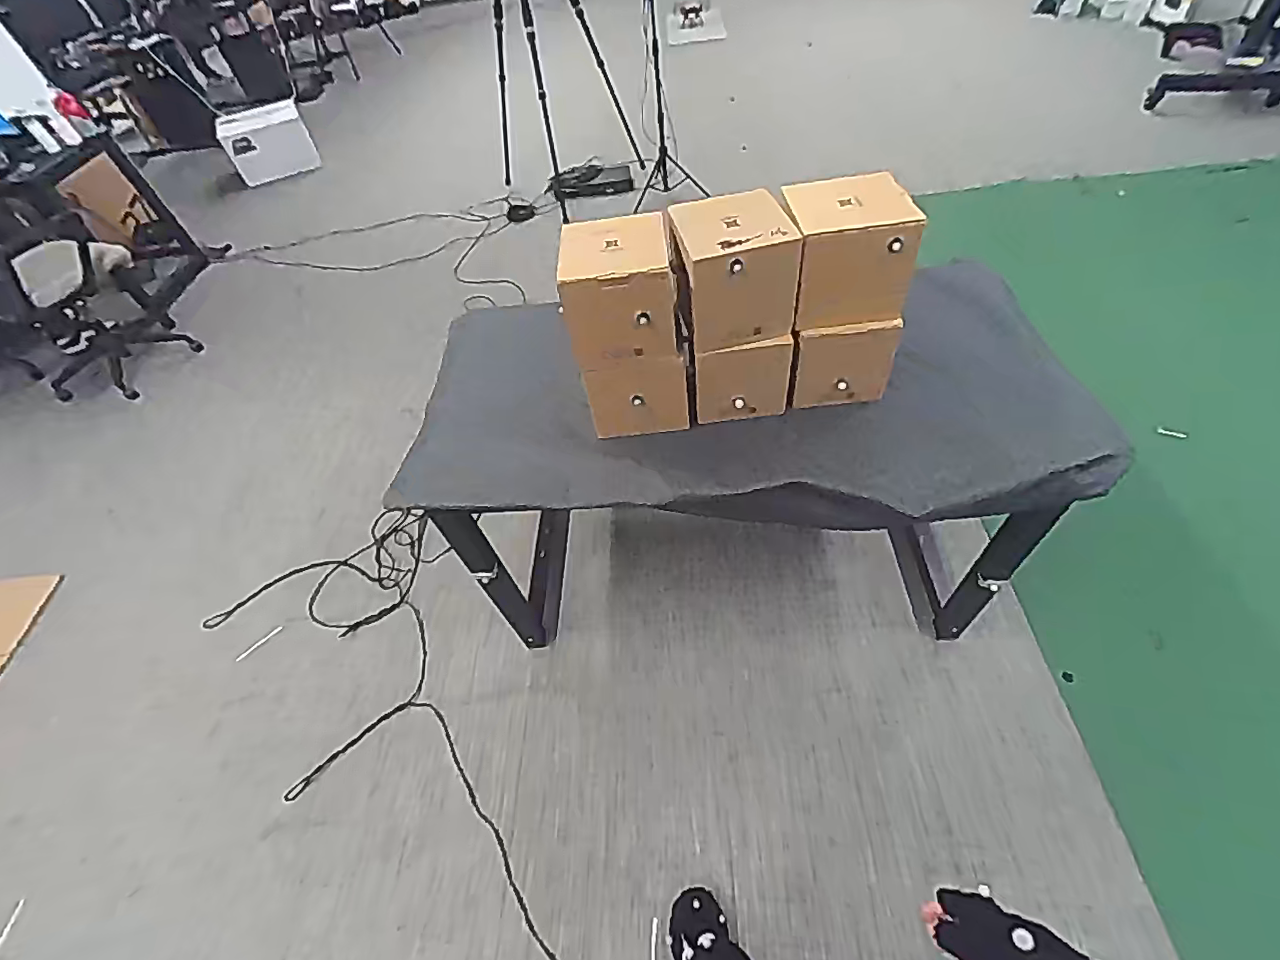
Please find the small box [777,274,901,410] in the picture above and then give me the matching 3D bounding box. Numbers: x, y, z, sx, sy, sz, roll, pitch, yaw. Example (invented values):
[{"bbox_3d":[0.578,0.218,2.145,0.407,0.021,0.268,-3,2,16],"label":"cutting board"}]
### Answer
[{"bbox_3d":[0.355,-0.253,1.003,0.168,0.176,0.179,-6,51,5],"label":"small box"}]
